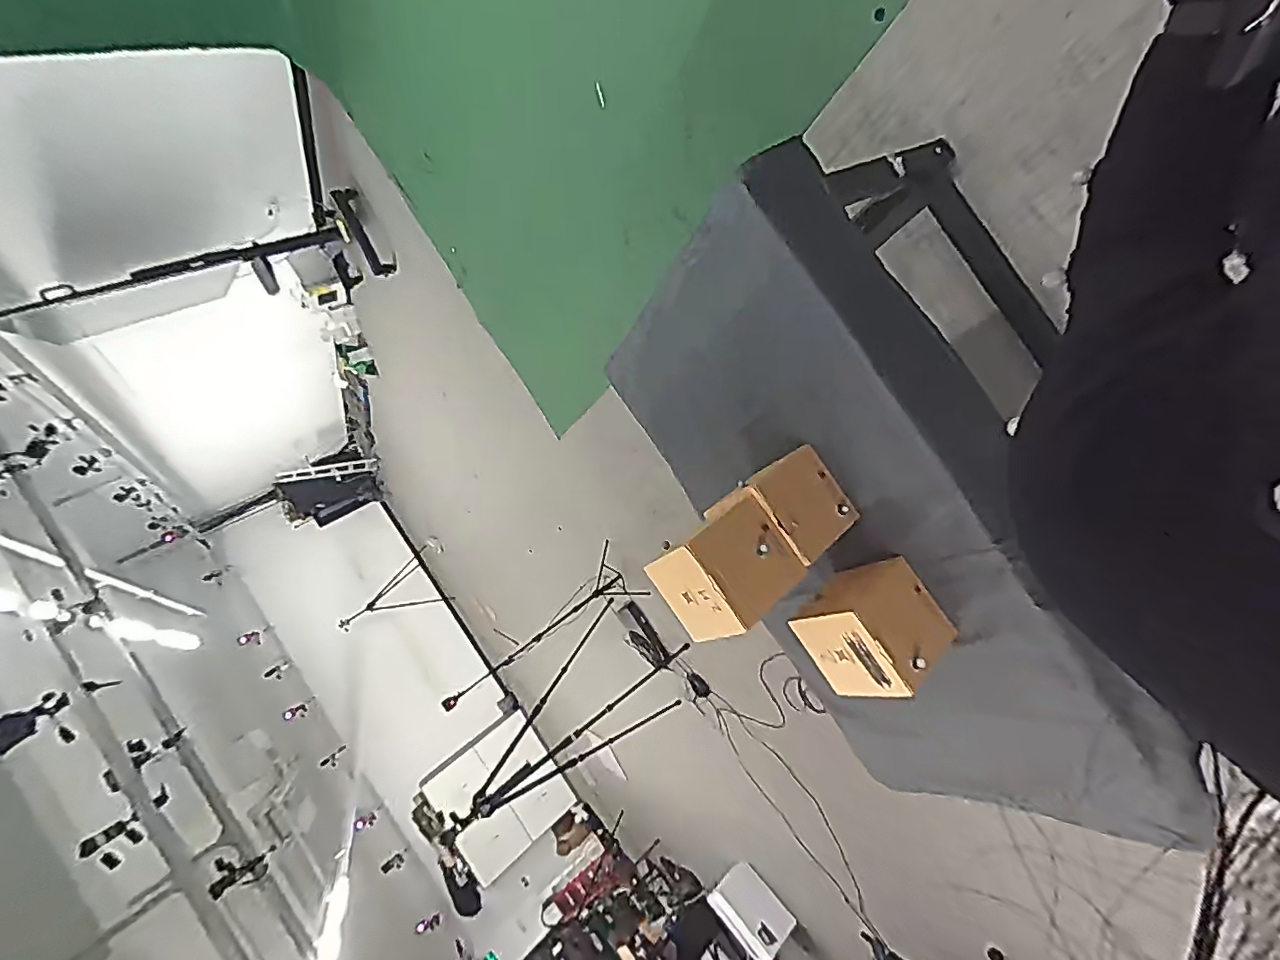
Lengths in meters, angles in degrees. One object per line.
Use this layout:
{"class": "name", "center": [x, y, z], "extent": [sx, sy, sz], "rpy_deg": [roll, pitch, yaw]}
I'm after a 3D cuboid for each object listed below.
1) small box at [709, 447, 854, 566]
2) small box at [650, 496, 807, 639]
{"class": "small box", "center": [0.271, 0.063, 1.017], "extent": [0.168, 0.176, 0.179], "rpy_deg": [56, 150, 4]}
{"class": "small box", "center": [0.153, 0.154, 0.946], "extent": [0.168, 0.176, 0.179], "rpy_deg": [54, 149, 5]}
